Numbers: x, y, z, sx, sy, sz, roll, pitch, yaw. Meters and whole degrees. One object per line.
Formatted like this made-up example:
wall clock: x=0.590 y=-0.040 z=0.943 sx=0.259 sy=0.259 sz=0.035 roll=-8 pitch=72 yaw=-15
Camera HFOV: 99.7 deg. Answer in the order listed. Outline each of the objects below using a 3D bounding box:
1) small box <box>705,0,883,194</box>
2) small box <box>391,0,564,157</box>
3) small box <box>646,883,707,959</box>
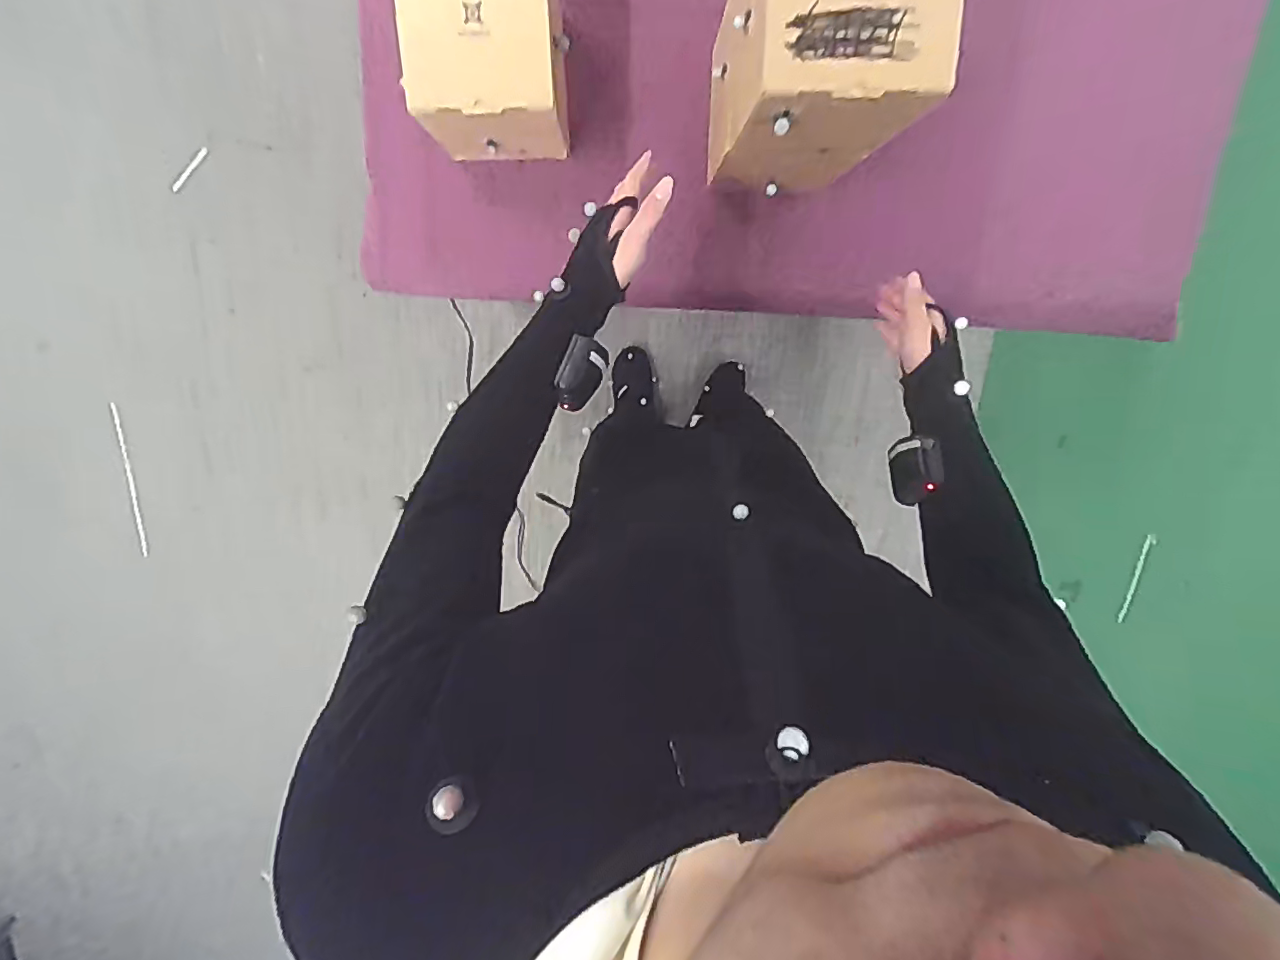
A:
small box: x=0.176 y=-0.477 z=0.673 sx=0.168 sy=0.176 sz=0.179 roll=1 pitch=105 yaw=-1
small box: x=-0.185 y=-0.516 z=0.656 sx=0.168 sy=0.176 sz=0.179 roll=-2 pitch=106 yaw=-1
small box: x=0.109 y=1.418 z=1.702 sx=0.168 sy=0.176 sz=0.179 roll=4 pitch=106 yaw=-3
